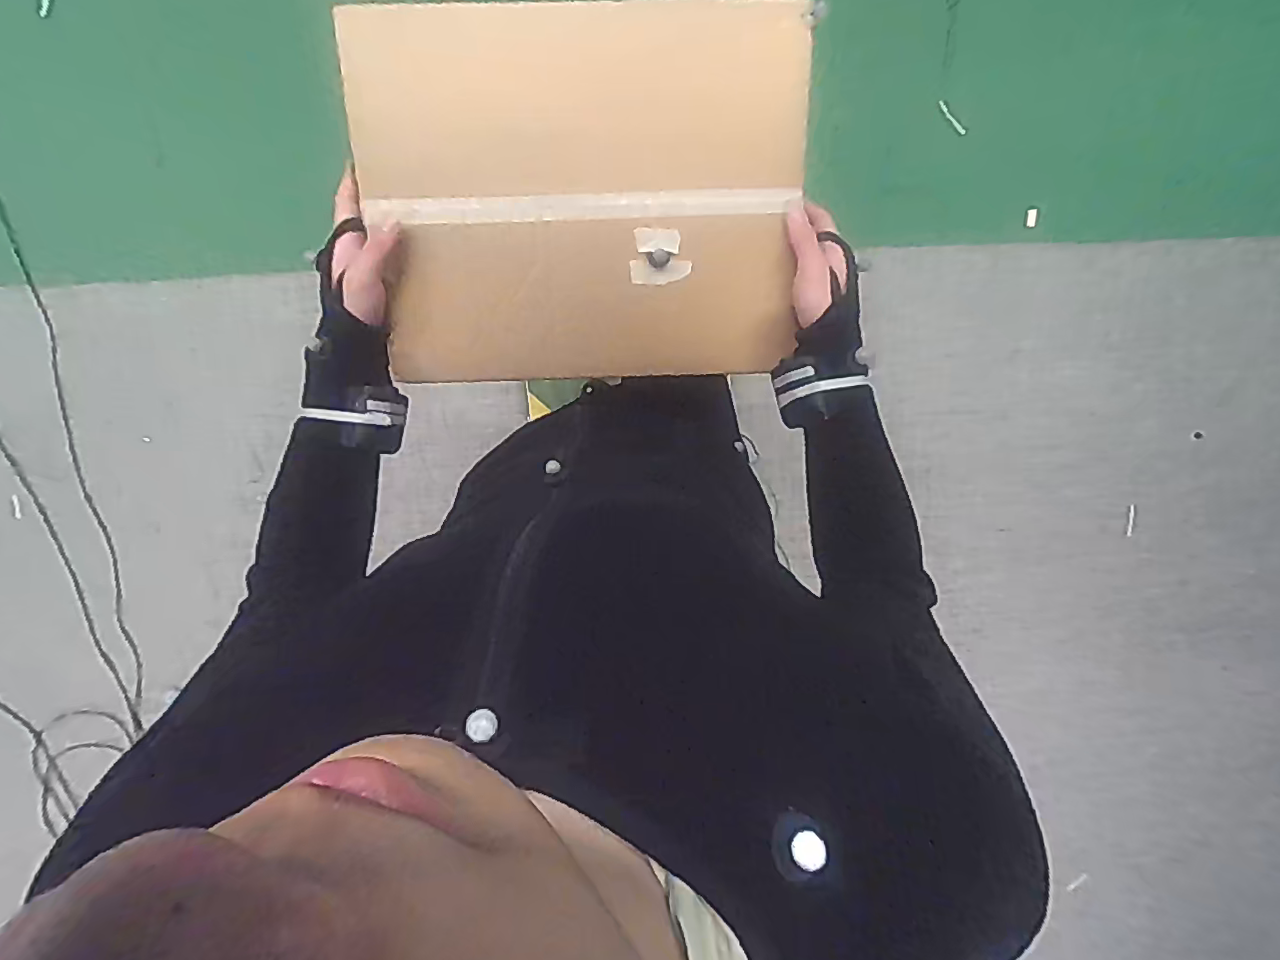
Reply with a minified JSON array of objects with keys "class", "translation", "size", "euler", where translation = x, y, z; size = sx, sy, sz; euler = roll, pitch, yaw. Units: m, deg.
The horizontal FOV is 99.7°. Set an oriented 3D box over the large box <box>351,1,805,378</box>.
[{"class":"large box","translation":[-0.054,-0.304,0.653],"size":[0.408,0.320,0.320],"euler":[-3,107,-2]}]
